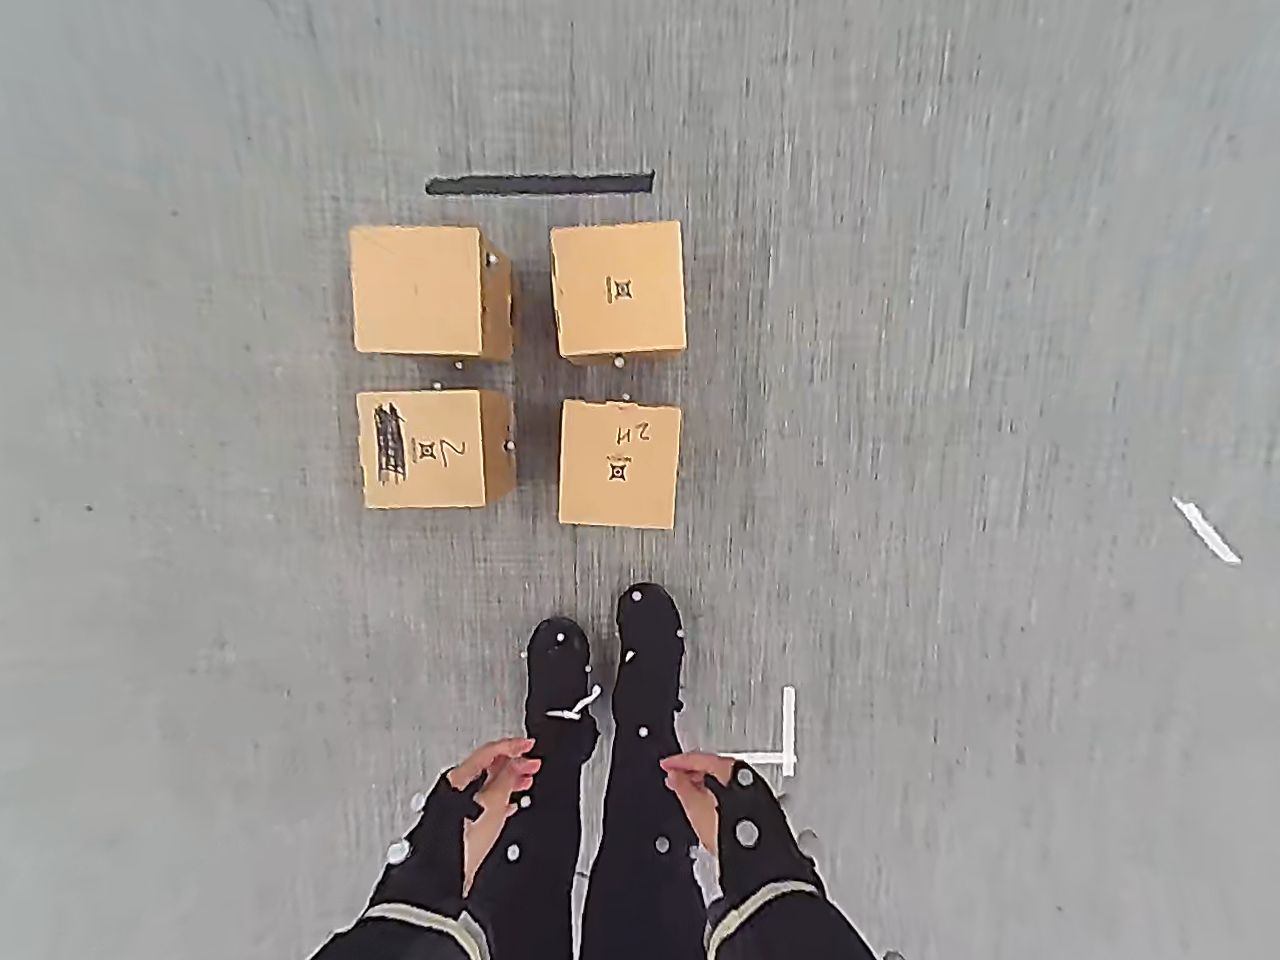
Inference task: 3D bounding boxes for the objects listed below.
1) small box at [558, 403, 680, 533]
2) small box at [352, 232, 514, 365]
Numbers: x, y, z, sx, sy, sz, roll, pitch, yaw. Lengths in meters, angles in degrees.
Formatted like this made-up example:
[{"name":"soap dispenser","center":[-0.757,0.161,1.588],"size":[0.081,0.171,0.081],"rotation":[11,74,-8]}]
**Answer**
[{"name":"small box","center":[-0.029,-0.026,0.841],"size":[0.168,0.176,0.179],"rotation":[4,98,-1]},{"name":"small box","center":[-0.297,-0.260,0.810],"size":[0.179,0.176,0.168],"rotation":[2,97,0]}]
